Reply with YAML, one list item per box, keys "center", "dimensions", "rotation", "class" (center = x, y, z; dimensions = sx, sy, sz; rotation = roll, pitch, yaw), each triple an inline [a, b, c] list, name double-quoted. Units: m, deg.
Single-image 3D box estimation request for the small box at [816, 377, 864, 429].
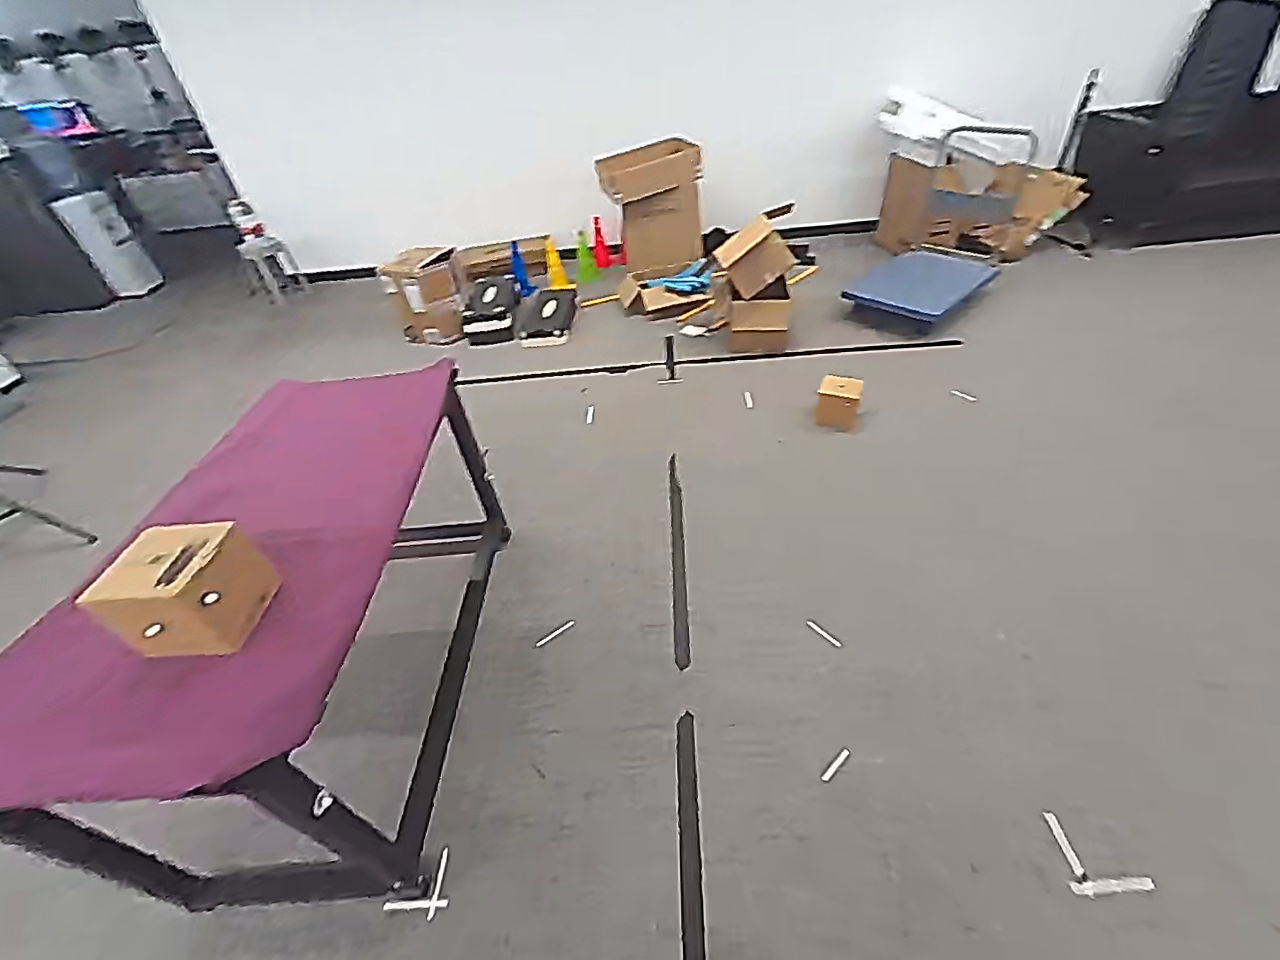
- center: [0.921, -0.352, 2.499]
  dimensions: [0.179, 0.176, 0.168]
  rotation: [14, 44, 22]
  class: "small box"
